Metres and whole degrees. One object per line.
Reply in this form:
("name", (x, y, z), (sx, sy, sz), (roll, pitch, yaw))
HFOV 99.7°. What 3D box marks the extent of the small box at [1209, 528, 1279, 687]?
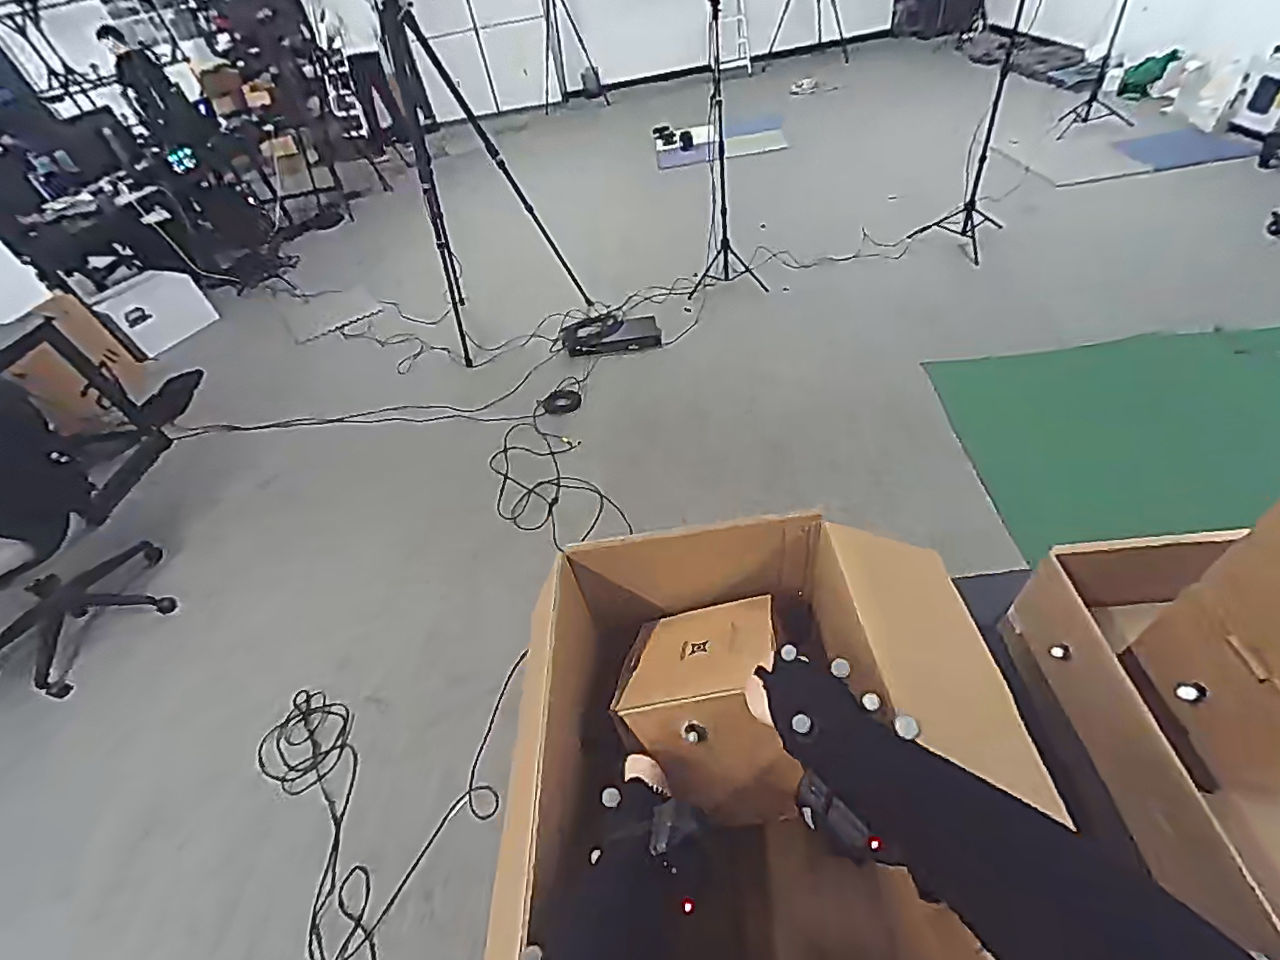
("small box", (0.658, 0.113, 0.450), (0.168, 0.176, 0.179), (-6, 47, 7))
